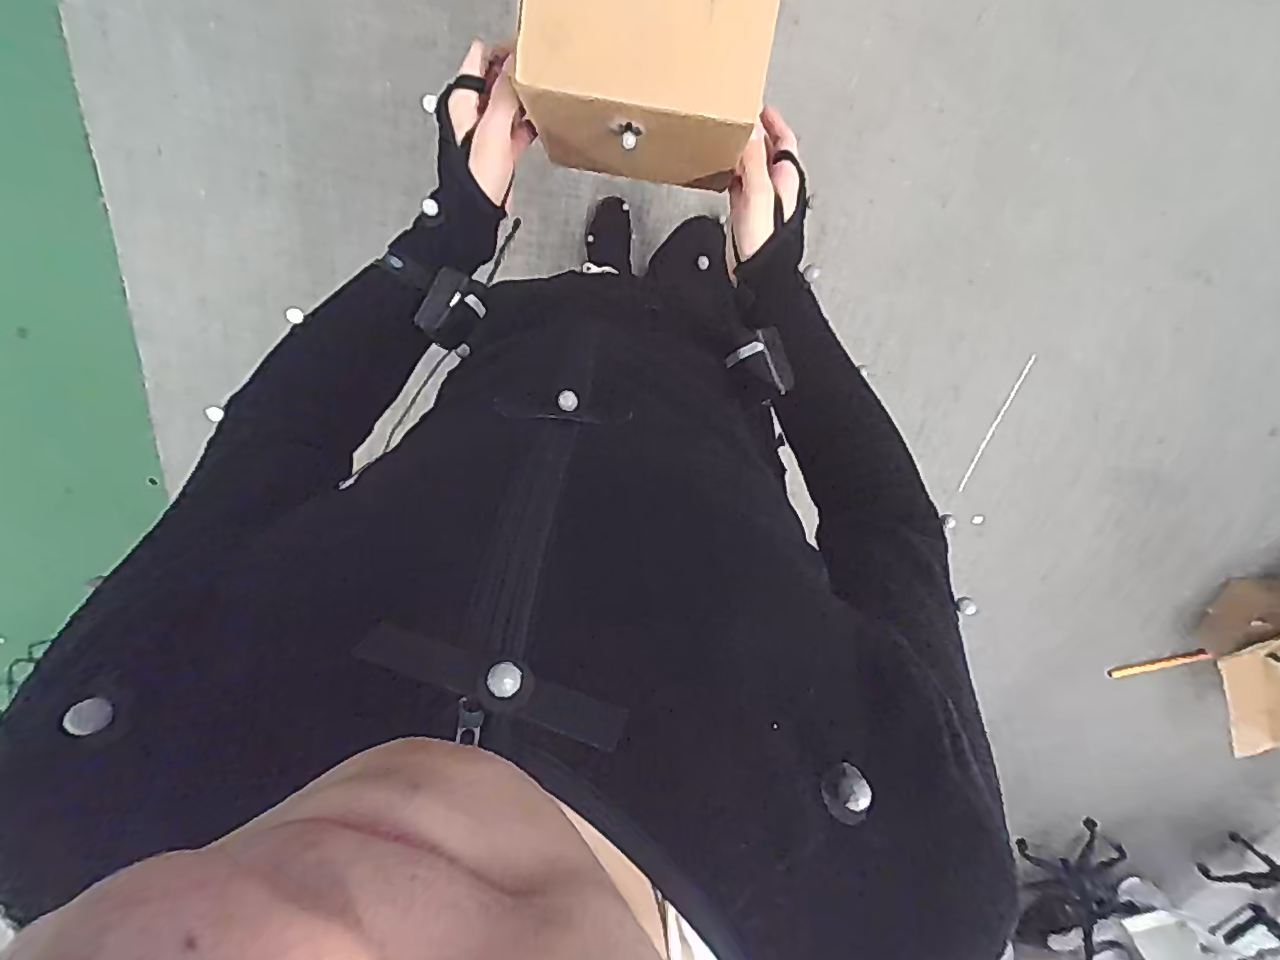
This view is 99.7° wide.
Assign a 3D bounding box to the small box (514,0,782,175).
[{"bbox_3d":[0.011,-0.368,0.430,0.179,0.176,0.168,9,103,-4],"label":"small box"}]
